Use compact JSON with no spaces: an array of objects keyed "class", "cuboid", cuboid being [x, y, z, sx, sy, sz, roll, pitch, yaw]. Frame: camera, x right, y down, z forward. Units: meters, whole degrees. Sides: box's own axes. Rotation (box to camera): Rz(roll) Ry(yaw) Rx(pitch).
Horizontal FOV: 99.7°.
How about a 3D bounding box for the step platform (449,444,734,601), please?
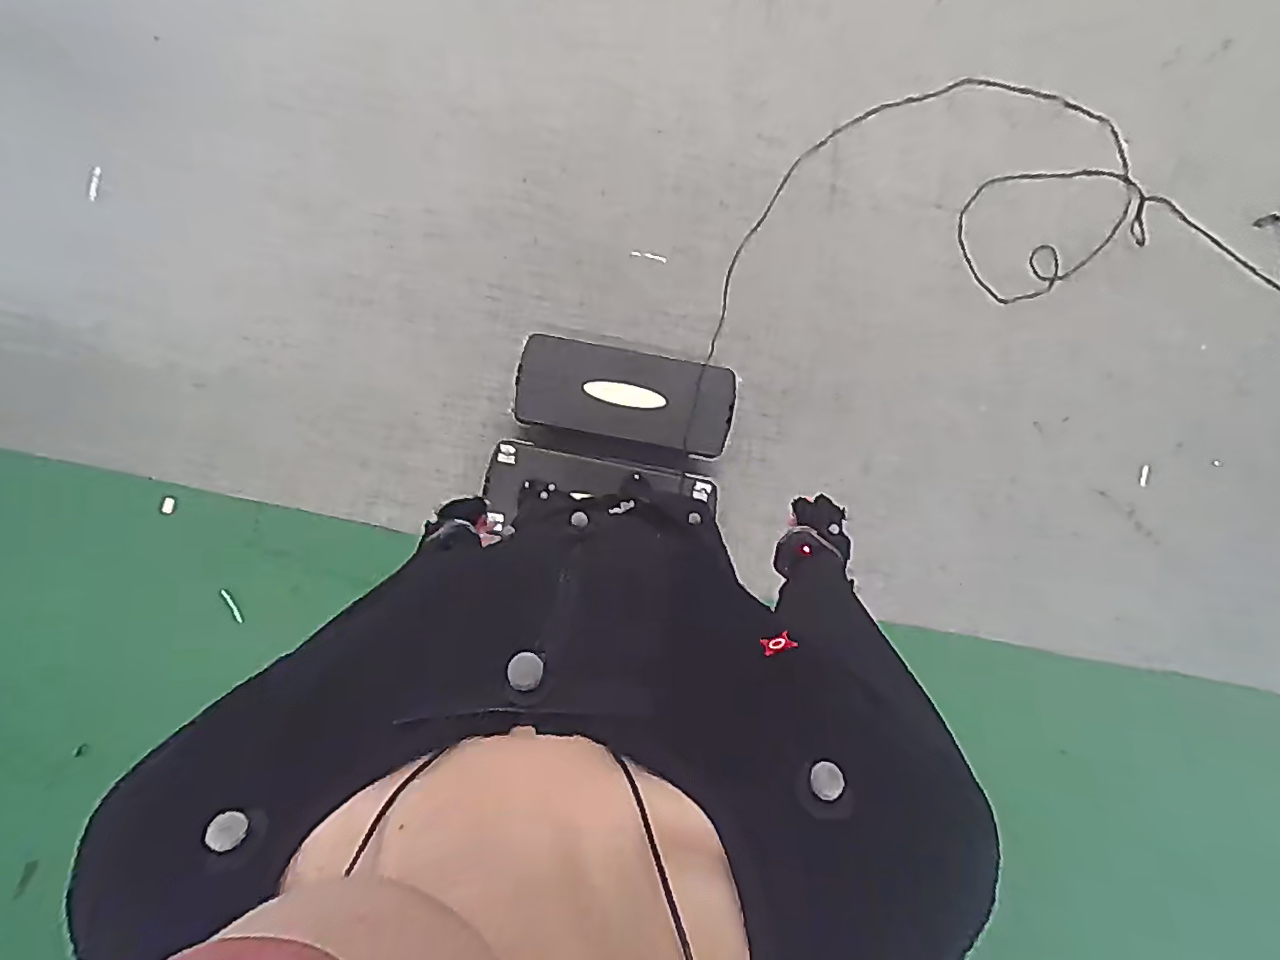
[{"class":"step platform","cuboid":[-0.116,0.104,1.397,0.684,0.204,0.286,11,89,-2]}]
